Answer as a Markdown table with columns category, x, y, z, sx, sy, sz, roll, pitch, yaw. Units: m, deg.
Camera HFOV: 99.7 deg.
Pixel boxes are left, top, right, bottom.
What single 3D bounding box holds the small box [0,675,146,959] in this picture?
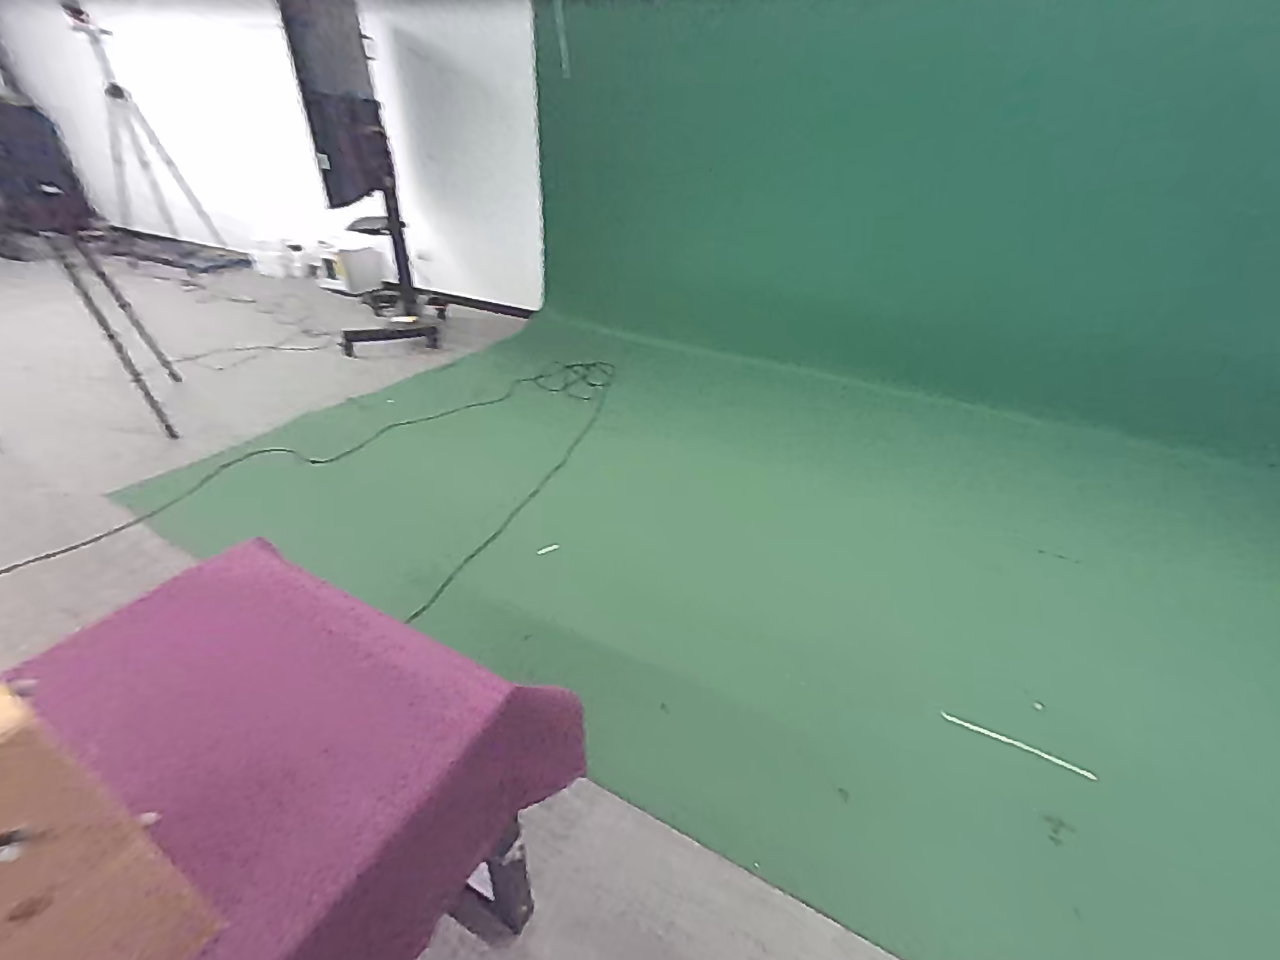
| category | x | y | z | sx | sy | sz | roll | pitch | yaw |
| --- | --- | --- | --- | --- | --- | --- | --- | --- | --- |
| small box | -0.485 | 0.229 | 0.351 | 0.179 | 0.176 | 0.168 | 18 | 35 | 22 |
